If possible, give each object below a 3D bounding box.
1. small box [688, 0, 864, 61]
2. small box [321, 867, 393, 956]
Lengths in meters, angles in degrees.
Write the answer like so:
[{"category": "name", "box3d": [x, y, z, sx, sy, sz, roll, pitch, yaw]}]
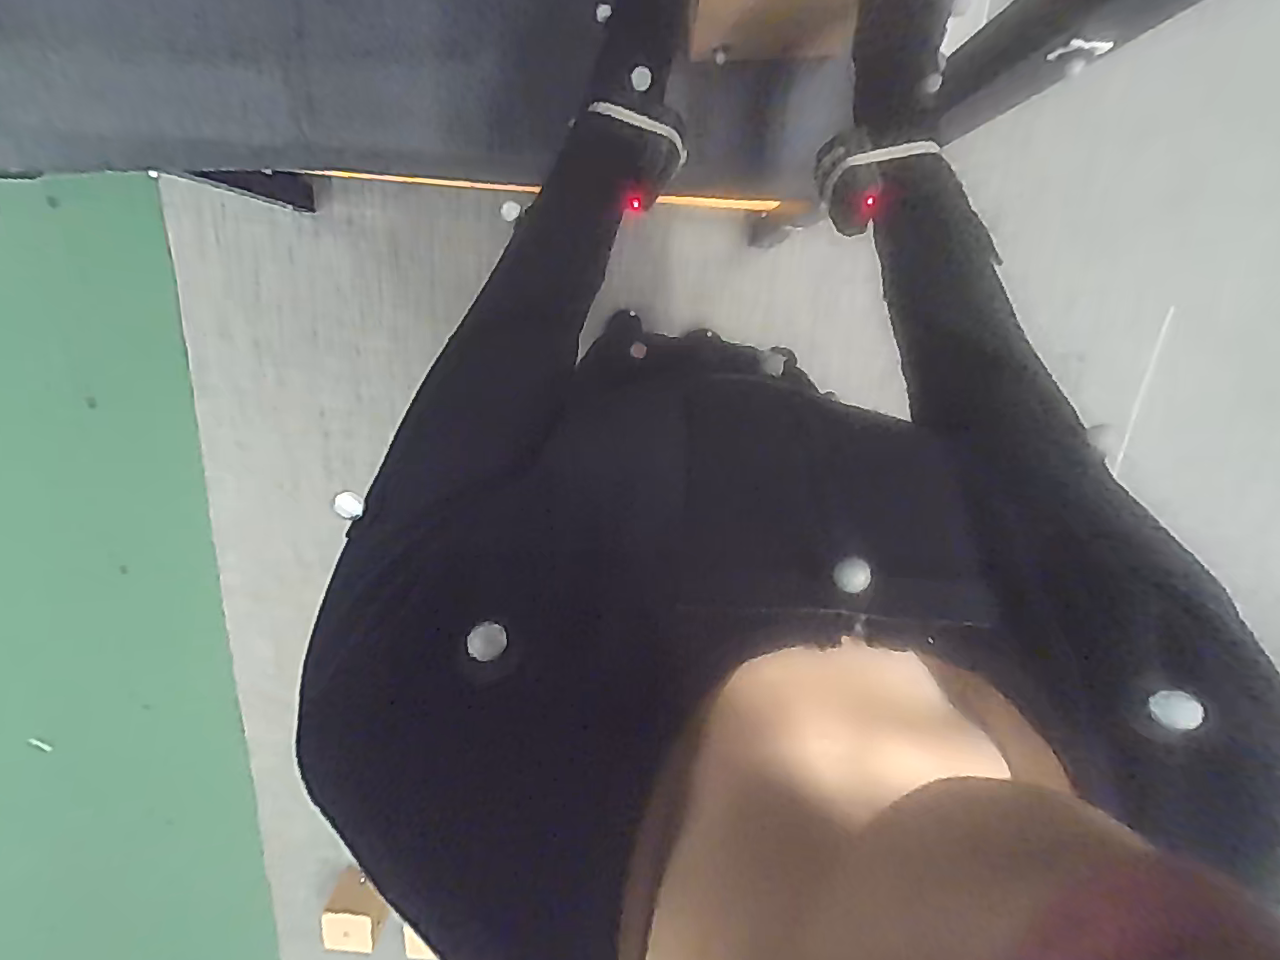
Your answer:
[{"category": "small box", "box3d": [0.133, -0.531, 0.513, 0.168, 0.176, 0.179, -1, 104, 2]}, {"category": "small box", "box3d": [-0.980, 1.502, 1.885, 0.168, 0.176, 0.179, 6, 106, -1]}]
